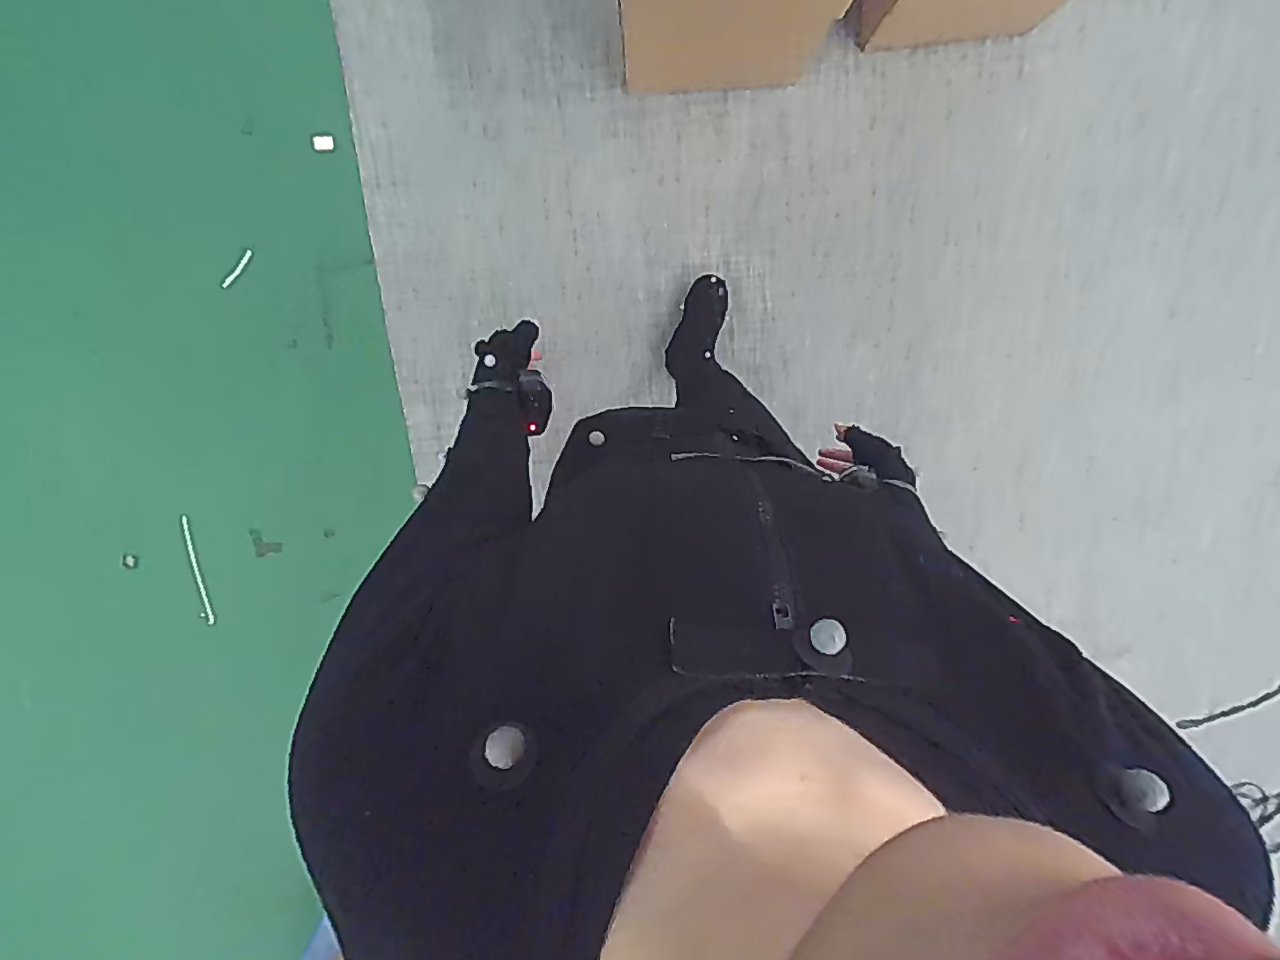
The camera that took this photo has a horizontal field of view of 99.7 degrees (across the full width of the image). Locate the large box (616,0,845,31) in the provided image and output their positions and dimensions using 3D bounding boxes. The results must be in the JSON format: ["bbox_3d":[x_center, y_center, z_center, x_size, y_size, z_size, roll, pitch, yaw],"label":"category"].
[{"bbox_3d":[0.151,-0.932,0.795,0.408,0.320,0.320,-4,104,1],"label":"large box"}]
